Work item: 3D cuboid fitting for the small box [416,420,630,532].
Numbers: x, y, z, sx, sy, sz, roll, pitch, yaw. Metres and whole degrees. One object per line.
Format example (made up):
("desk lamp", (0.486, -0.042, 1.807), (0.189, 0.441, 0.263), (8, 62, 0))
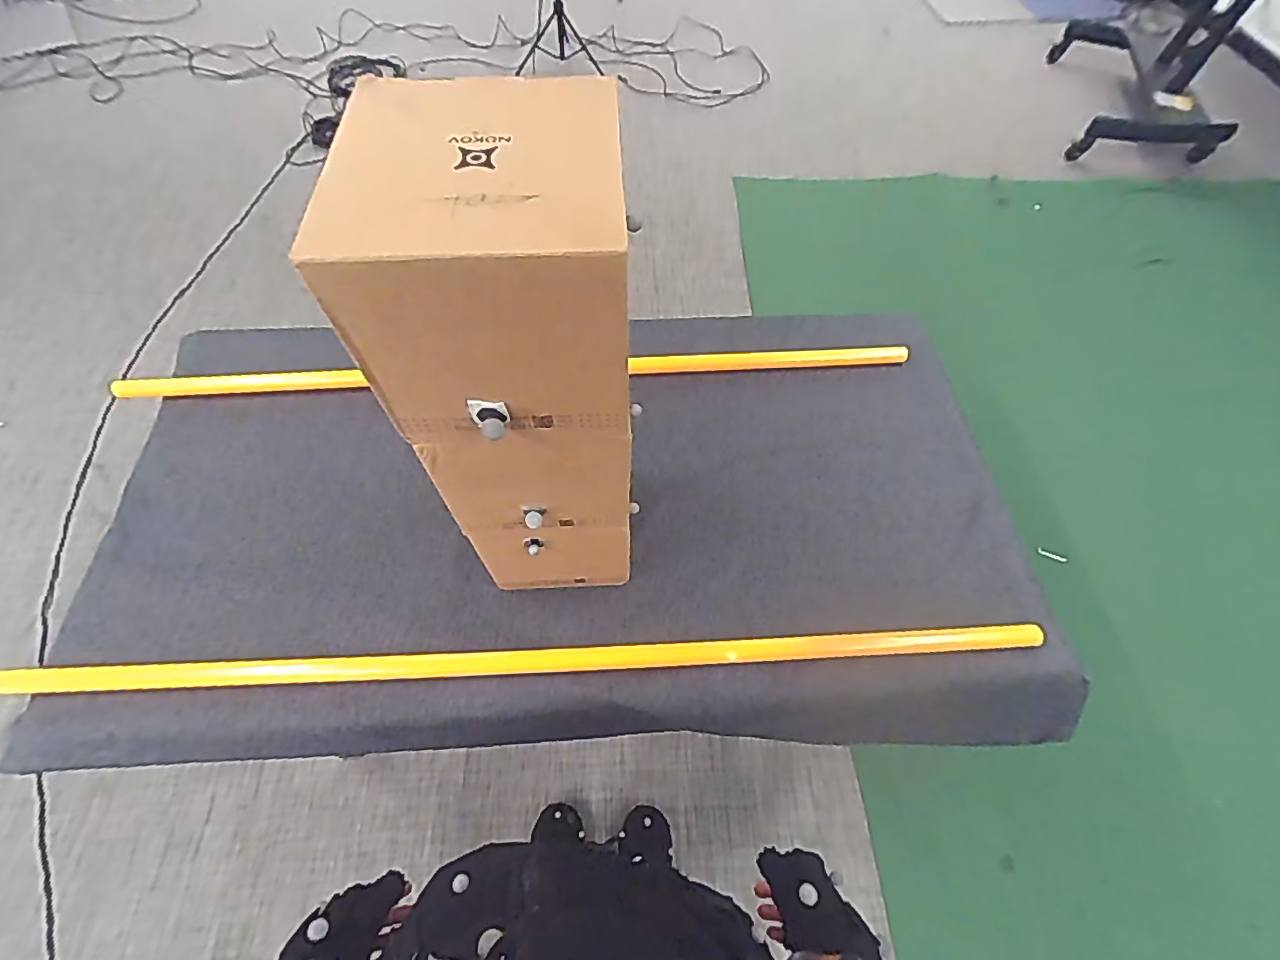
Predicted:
("small box", (-0.097, -0.064, 0.525), (0.168, 0.176, 0.179), (-3, 61, -3))

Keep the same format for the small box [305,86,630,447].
("small box", (-0.094, -0.143, 0.384), (0.168, 0.176, 0.179), (-4, 61, -2))

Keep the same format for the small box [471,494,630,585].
("small box", (-0.098, 0.017, 0.668), (0.168, 0.176, 0.179), (-2, 60, -2))
